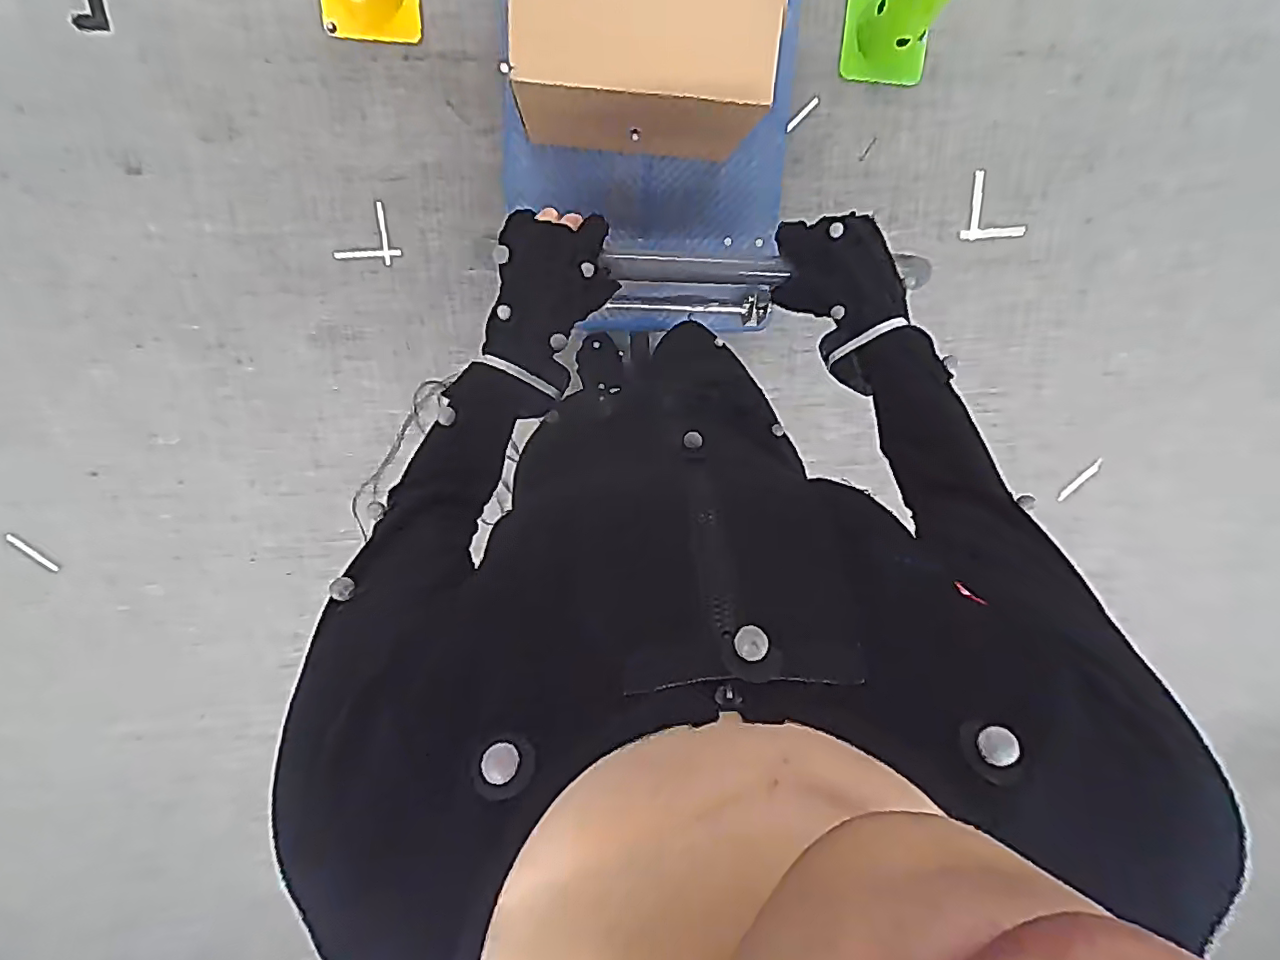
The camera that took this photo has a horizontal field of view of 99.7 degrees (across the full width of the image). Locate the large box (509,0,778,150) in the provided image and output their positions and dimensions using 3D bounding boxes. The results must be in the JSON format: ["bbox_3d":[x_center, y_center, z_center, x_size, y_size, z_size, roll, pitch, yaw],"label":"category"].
[{"bbox_3d":[0.001,-0.784,0.921,0.408,0.320,0.320,2,106,-5],"label":"large box"}]

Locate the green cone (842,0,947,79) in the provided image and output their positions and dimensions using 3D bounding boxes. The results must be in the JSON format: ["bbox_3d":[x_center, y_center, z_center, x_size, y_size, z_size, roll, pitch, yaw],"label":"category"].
[{"bbox_3d":[0.580,-0.985,1.065,0.202,0.368,0.200,0,107,-7],"label":"green cone"}]
